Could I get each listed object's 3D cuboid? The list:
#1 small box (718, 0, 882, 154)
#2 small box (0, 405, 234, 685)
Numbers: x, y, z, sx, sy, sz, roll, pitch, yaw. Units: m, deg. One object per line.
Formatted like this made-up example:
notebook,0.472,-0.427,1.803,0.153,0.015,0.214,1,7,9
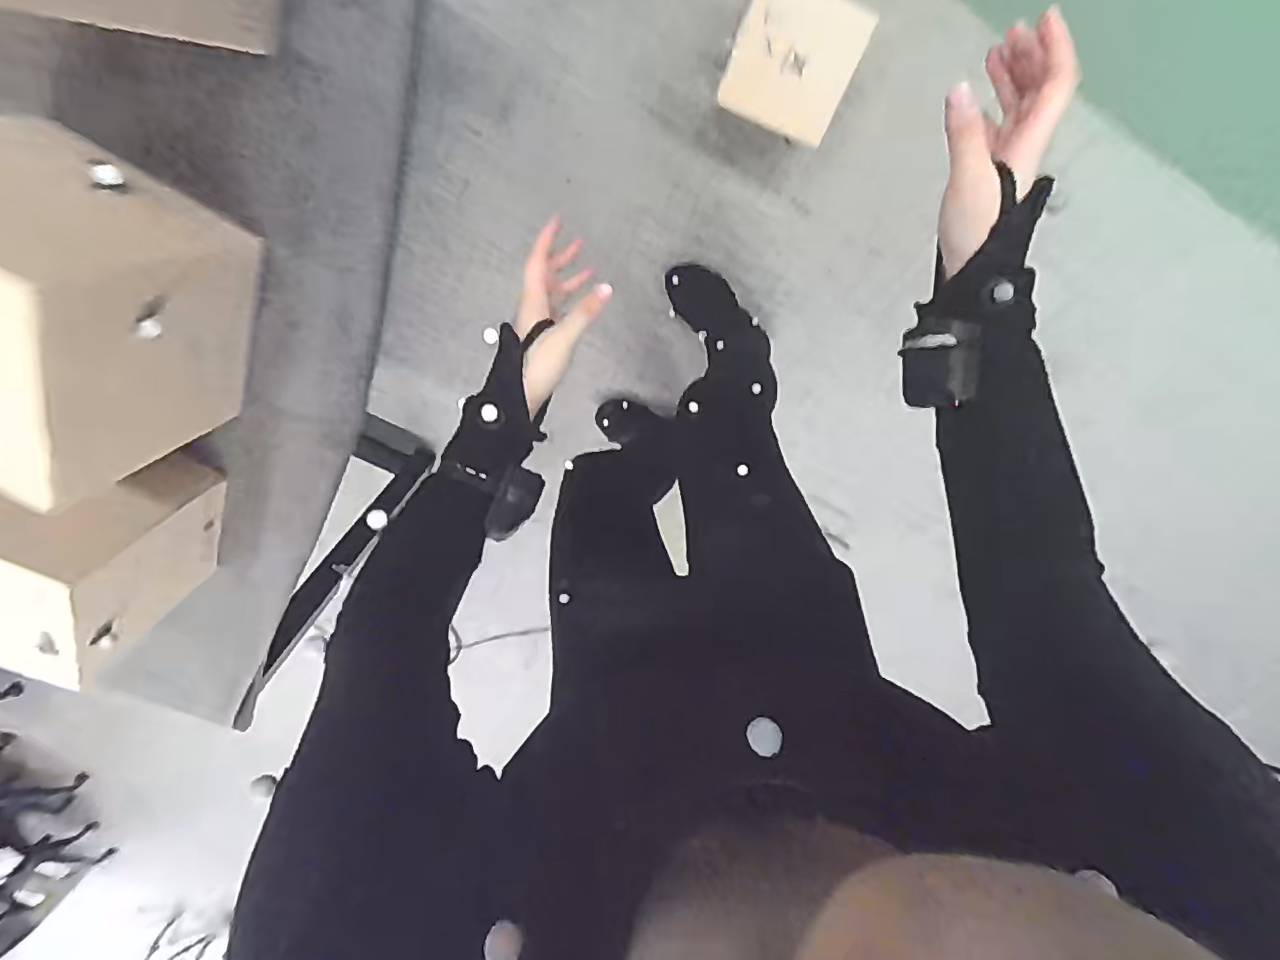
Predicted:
small box,0.234,-0.636,0.842,0.179,0.176,0.168,21,123,-7
small box,-0.542,0.051,0.514,0.179,0.176,0.168,30,122,-10
